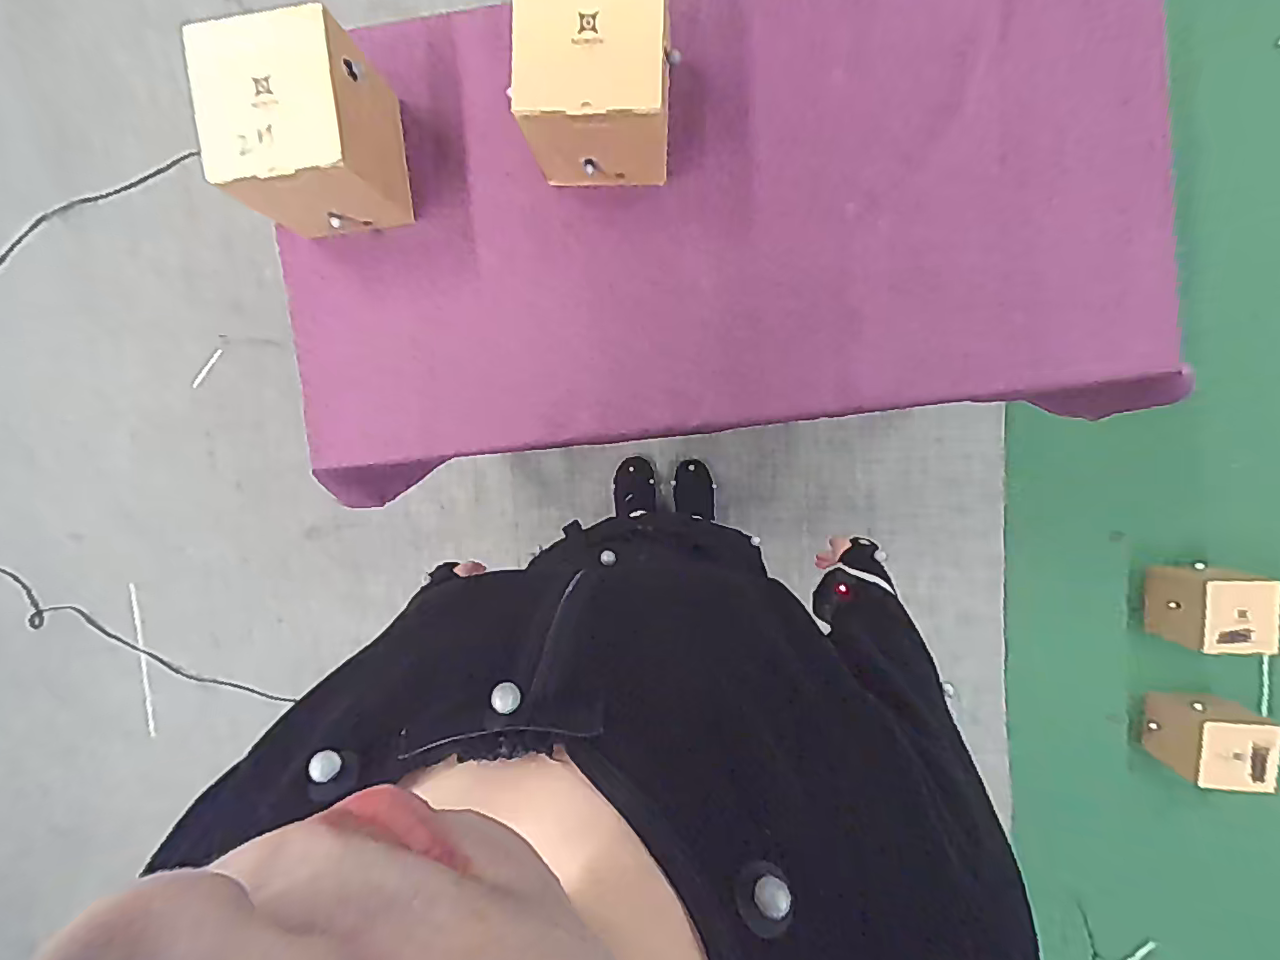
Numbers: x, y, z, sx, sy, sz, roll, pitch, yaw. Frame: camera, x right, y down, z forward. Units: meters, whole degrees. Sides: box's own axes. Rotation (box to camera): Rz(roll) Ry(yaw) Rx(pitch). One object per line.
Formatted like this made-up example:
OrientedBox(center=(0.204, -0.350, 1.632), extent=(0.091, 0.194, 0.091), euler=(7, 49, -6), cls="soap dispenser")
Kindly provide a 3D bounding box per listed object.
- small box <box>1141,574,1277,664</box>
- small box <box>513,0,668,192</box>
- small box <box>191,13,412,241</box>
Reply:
OrientedBox(center=(1.399, 0.340, 1.343), extent=(0.168, 0.176, 0.179), euler=(0, 92, 4), cls="small box")
OrientedBox(center=(-0.051, -0.484, 0.665), extent=(0.168, 0.176, 0.179), euler=(2, 95, 4), cls="small box")
OrientedBox(center=(-0.415, -0.432, 0.690), extent=(0.168, 0.176, 0.179), euler=(-5, 94, 4), cls="small box")
